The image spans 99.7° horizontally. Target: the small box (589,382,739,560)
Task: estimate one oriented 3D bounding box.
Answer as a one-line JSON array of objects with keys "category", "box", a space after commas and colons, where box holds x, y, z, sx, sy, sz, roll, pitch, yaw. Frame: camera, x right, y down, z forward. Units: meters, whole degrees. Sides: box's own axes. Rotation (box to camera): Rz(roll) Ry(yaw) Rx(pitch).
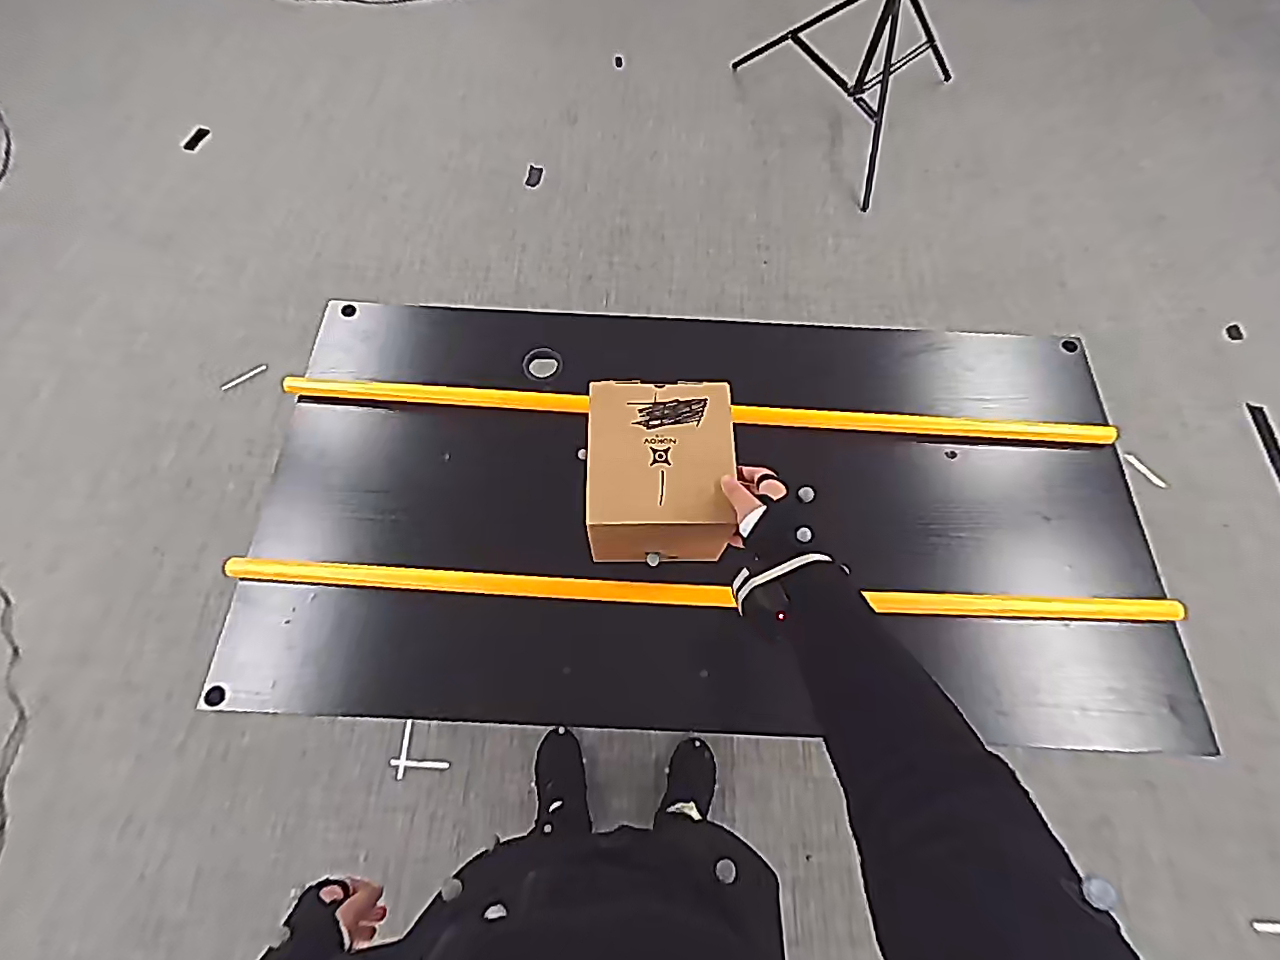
[{"category": "small box", "box": [0.023, -0.005, 0.682, 0.168, 0.176, 0.179, 0, 68, -1]}]
